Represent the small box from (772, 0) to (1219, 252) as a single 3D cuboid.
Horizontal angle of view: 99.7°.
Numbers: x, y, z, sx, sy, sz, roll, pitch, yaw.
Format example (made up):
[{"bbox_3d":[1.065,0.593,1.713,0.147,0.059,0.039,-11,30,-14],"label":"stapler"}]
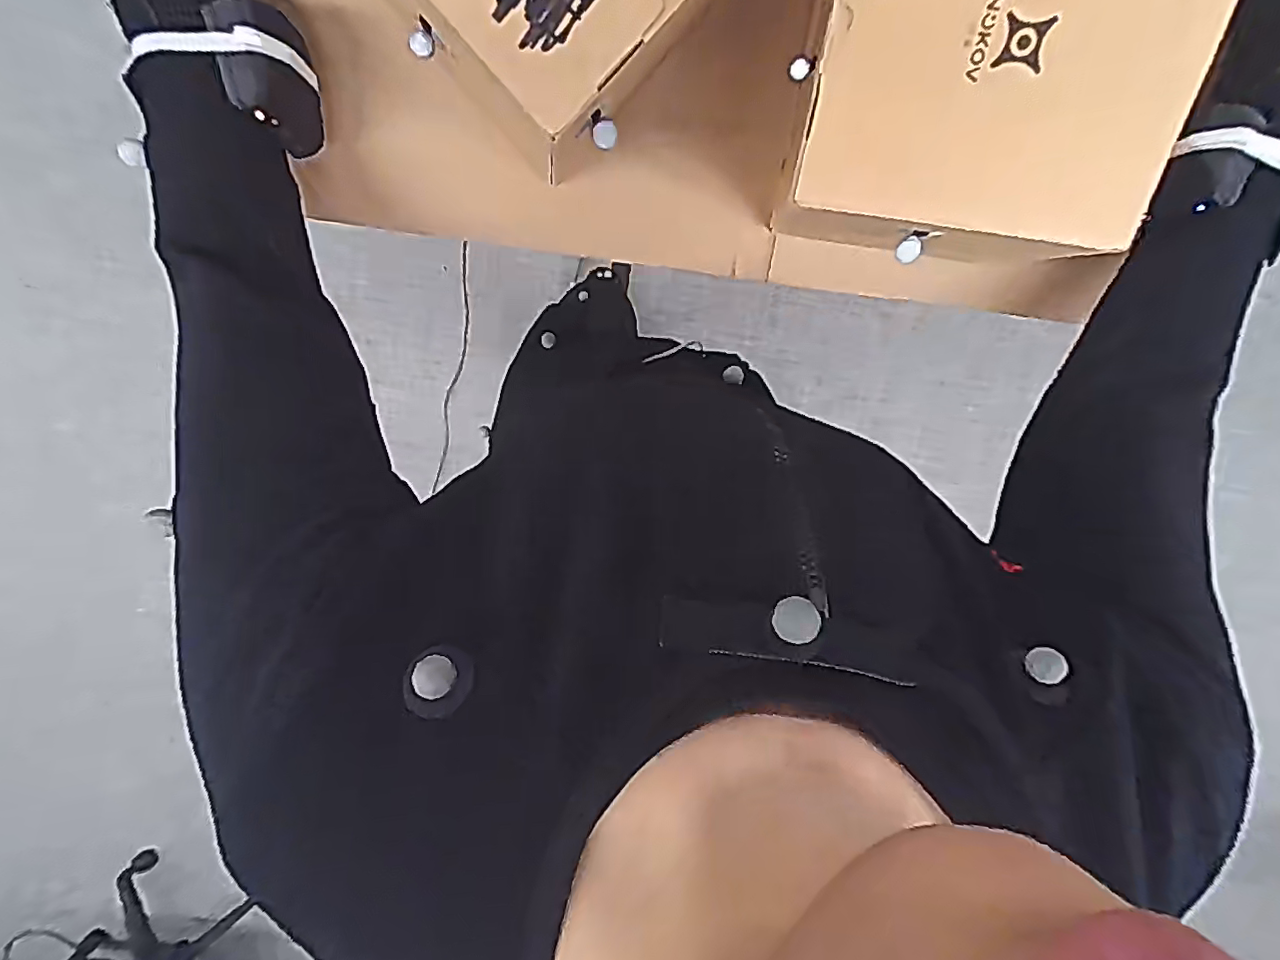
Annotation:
[{"bbox_3d":[0.190,-0.244,0.336,0.179,0.176,0.168,13,111,7],"label":"small box"}]
